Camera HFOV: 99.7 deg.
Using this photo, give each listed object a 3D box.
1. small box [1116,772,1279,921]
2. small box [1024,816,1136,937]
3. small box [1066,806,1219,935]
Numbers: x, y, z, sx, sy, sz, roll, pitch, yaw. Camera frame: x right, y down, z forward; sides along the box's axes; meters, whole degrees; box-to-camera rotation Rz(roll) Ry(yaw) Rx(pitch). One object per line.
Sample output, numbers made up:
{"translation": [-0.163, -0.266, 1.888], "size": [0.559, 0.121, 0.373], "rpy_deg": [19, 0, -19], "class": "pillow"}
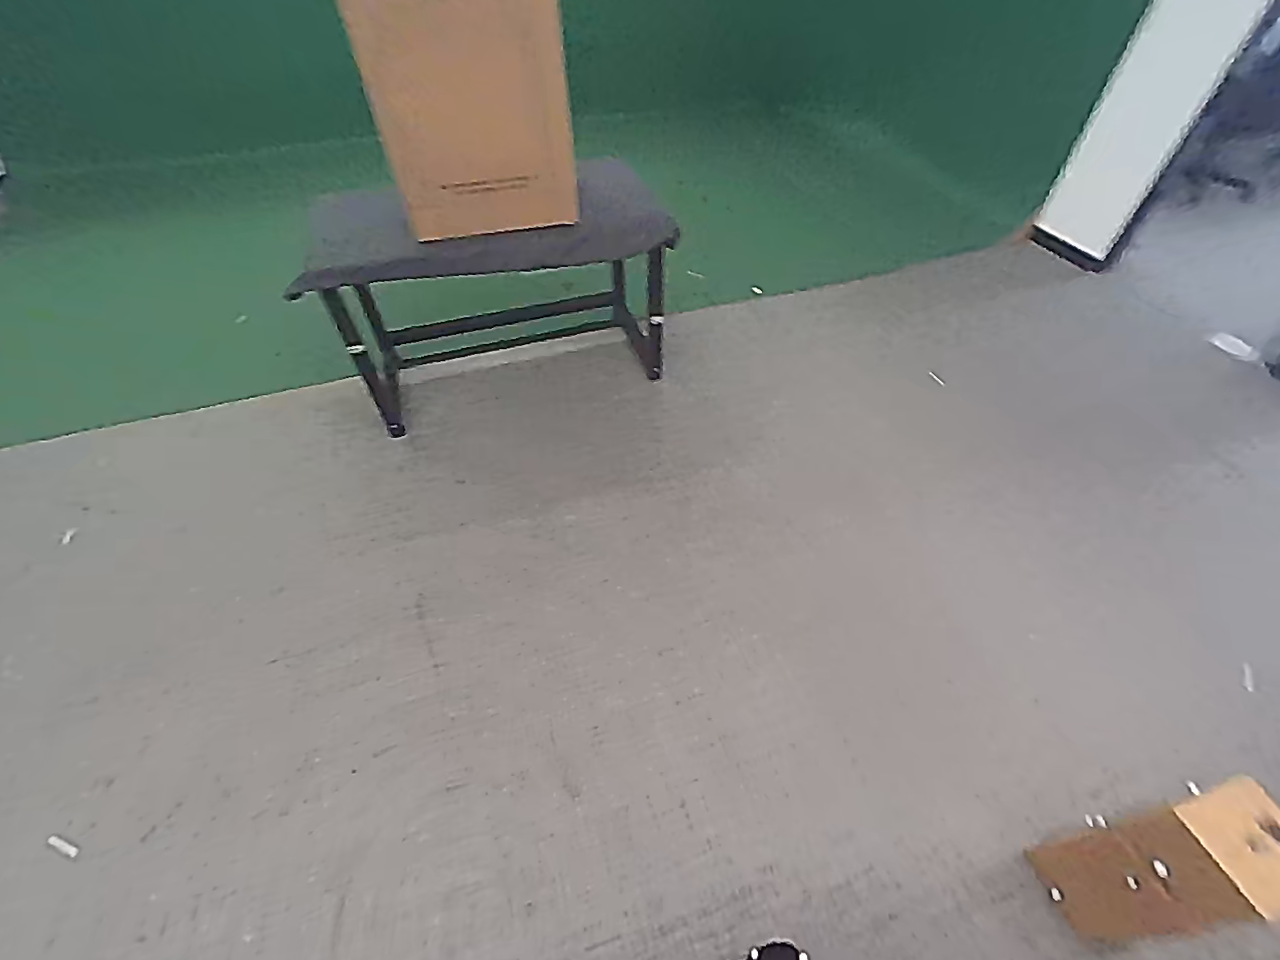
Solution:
{"translation": [1.016, 0.648, 0.956], "size": [0.179, 0.176, 0.168], "rpy_deg": [-14, 49, -11], "class": "small box"}
{"translation": [1.013, 0.872, 1.194], "size": [0.168, 0.176, 0.179], "rpy_deg": [-13, 50, -12], "class": "small box"}
{"translation": [1.011, 0.765, 1.071], "size": [0.168, 0.176, 0.179], "rpy_deg": [-14, 51, -12], "class": "small box"}
